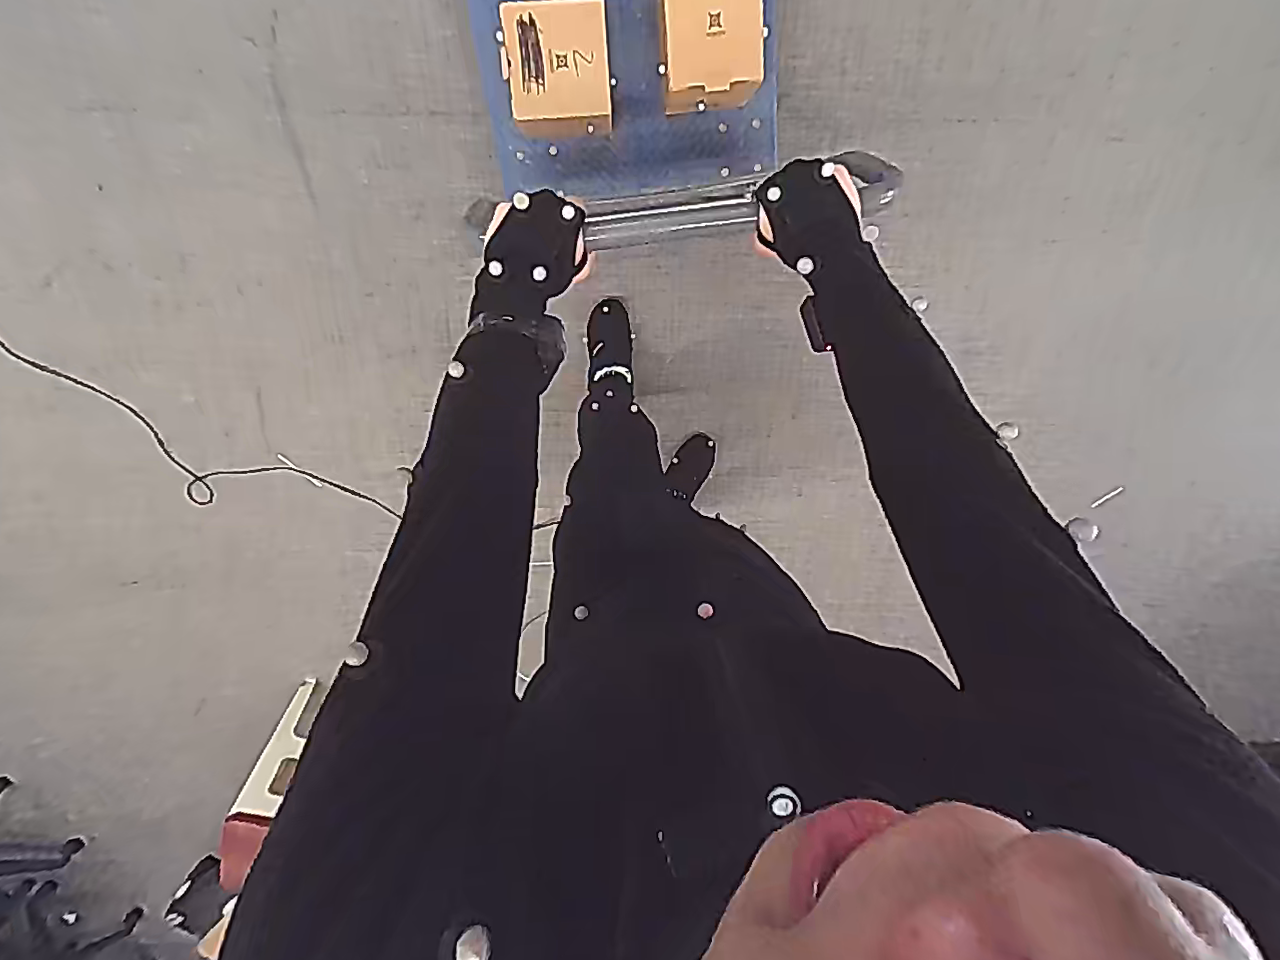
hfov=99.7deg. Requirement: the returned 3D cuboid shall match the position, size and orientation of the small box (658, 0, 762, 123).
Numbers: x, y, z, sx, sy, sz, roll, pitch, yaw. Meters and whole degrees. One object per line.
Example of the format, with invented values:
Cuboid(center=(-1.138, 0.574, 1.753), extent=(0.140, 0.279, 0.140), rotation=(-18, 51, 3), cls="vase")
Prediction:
Cuboid(center=(0.125, -0.795, 1.008), extent=(0.168, 0.176, 0.179), rotation=(-6, 112, 1), cls="small box")
